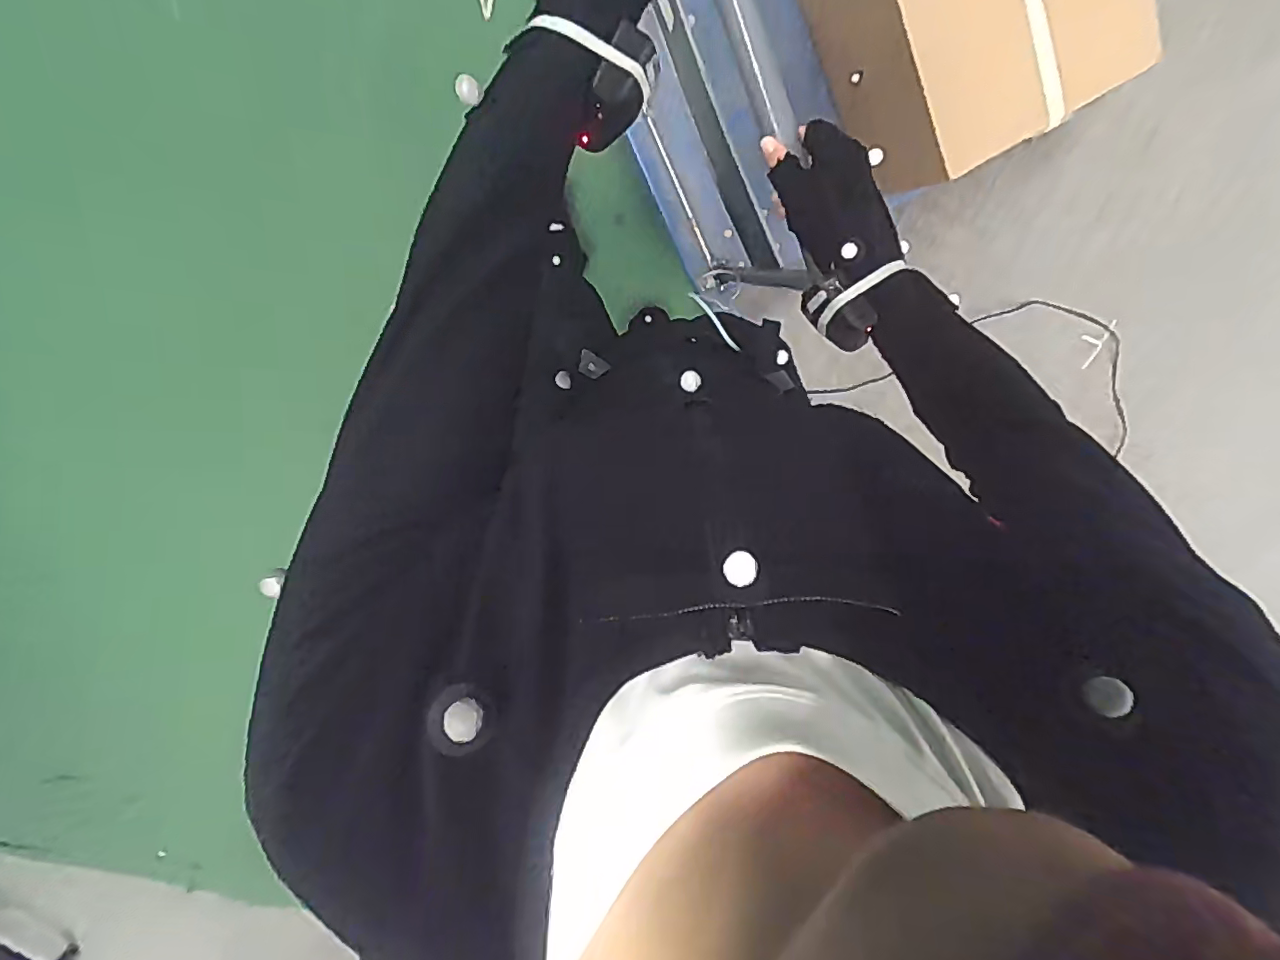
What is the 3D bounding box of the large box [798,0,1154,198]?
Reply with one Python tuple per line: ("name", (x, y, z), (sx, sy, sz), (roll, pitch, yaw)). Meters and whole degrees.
("large box", (0.495, -0.736, 0.861), (0.320, 0.320, 0.408), (-27, 109, 10))
